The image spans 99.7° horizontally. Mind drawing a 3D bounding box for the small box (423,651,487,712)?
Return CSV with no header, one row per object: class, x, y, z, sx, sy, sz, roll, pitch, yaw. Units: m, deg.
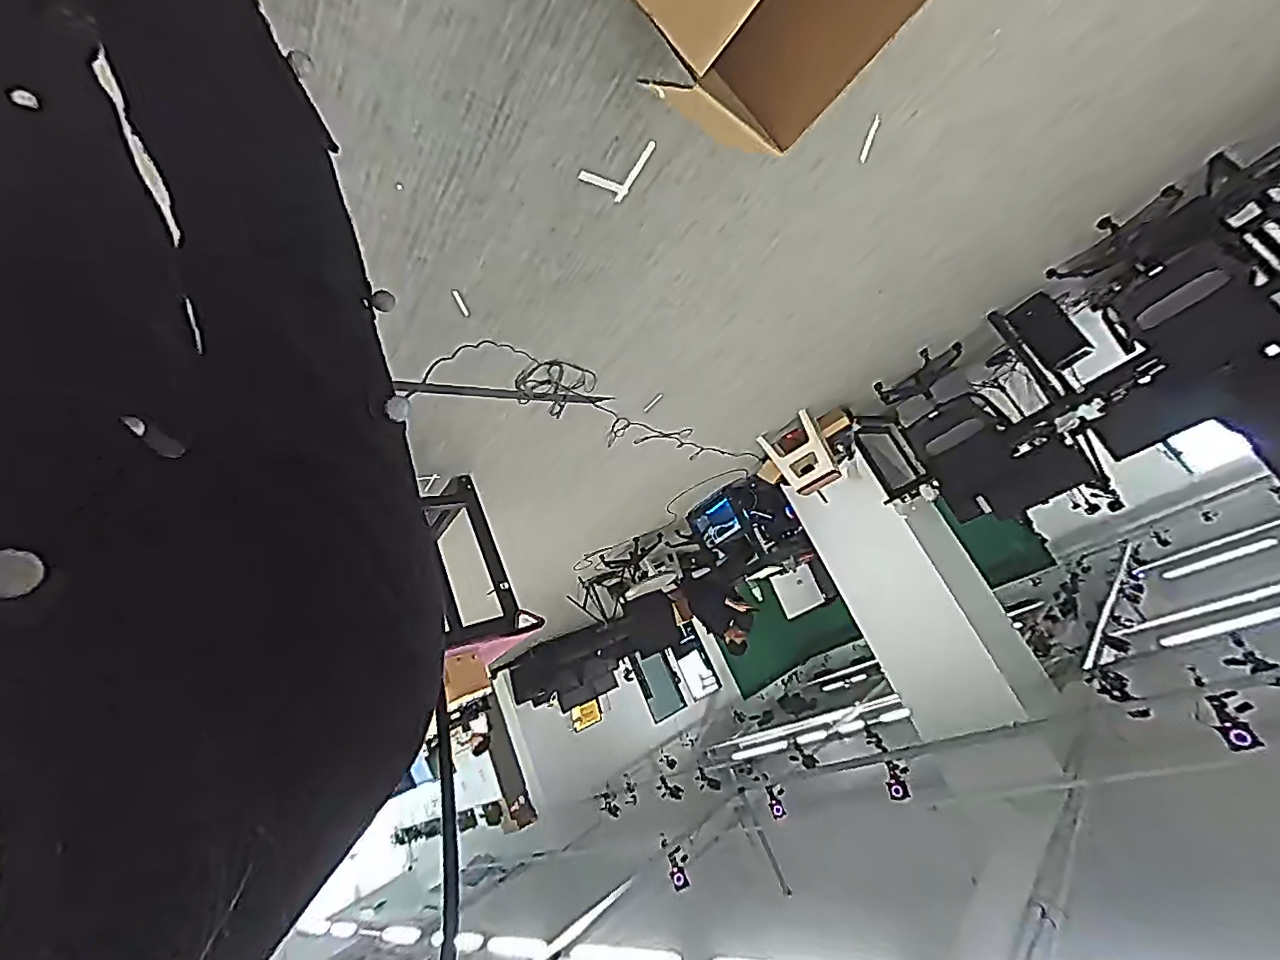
small box,-0.760,0.813,2.205,0.179,0.176,0.168,-38,157,33
